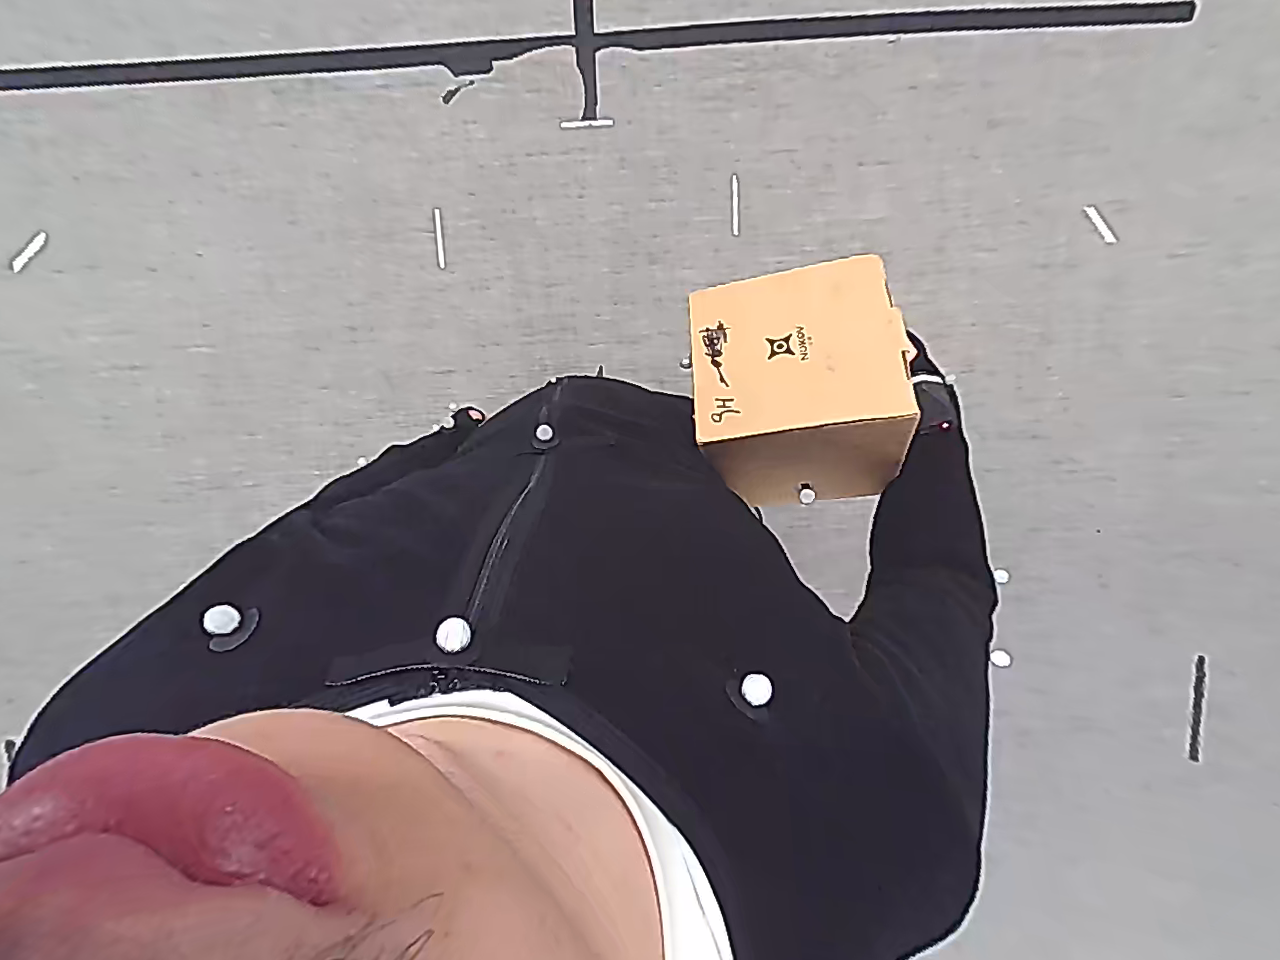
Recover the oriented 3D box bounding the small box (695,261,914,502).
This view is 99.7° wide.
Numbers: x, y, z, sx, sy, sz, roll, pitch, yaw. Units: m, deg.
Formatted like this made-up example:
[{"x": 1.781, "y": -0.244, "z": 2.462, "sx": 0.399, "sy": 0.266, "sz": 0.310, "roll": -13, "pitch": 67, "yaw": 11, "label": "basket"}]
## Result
[{"x": 0.157, "y": -0.087, "z": 0.553, "sx": 0.179, "sy": 0.176, "sz": 0.168, "roll": -6, "pitch": 65, "yaw": 14, "label": "small box"}]
